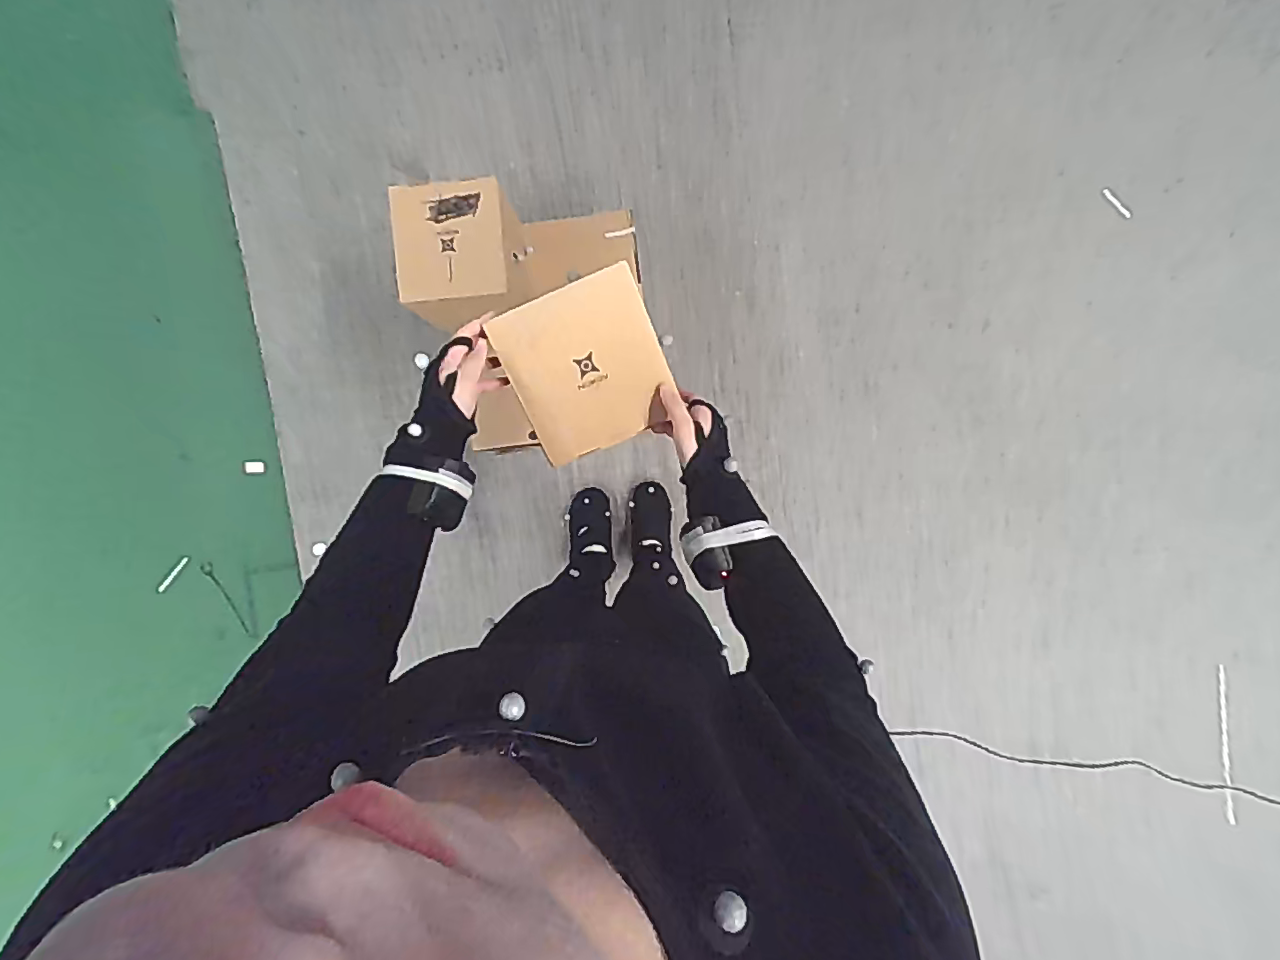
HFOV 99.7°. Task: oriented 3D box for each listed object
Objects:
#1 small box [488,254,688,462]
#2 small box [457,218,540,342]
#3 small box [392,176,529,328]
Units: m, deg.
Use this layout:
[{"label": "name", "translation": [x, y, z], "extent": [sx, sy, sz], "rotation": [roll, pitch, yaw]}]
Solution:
[{"label": "small box", "translation": [-0.059, -0.150, 0.652], "extent": [0.168, 0.176, 0.179], "rotation": [-23, 111, 5]}, {"label": "small box", "translation": [-0.291, -0.381, 1.051], "extent": [0.168, 0.176, 0.179], "rotation": [-7, 91, 1]}, {"label": "small box", "translation": [-0.282, -0.362, 0.886], "extent": [0.168, 0.176, 0.179], "rotation": [-5, 92, 1]}]
